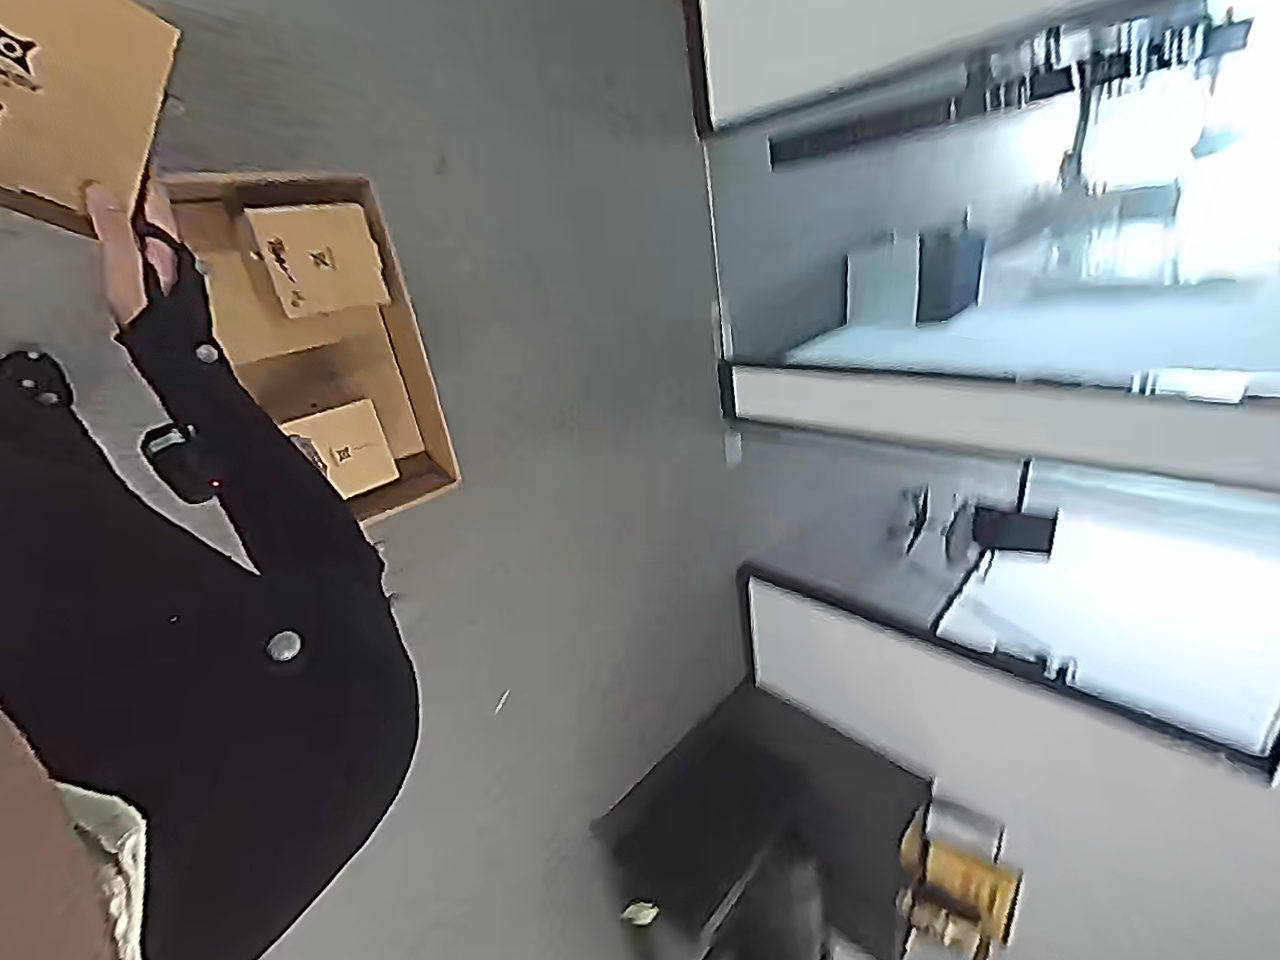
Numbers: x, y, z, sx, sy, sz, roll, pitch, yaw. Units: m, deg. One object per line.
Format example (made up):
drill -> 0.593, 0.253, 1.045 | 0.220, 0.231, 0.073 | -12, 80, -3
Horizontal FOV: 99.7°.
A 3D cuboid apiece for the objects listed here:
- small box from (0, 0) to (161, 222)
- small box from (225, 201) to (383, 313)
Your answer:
small box -> -0.520, -0.330, 0.429 | 0.168, 0.176, 0.179 | 13, 95, -50
small box -> -0.592, -0.394, 0.957 | 0.179, 0.176, 0.168 | -26, 120, -39
